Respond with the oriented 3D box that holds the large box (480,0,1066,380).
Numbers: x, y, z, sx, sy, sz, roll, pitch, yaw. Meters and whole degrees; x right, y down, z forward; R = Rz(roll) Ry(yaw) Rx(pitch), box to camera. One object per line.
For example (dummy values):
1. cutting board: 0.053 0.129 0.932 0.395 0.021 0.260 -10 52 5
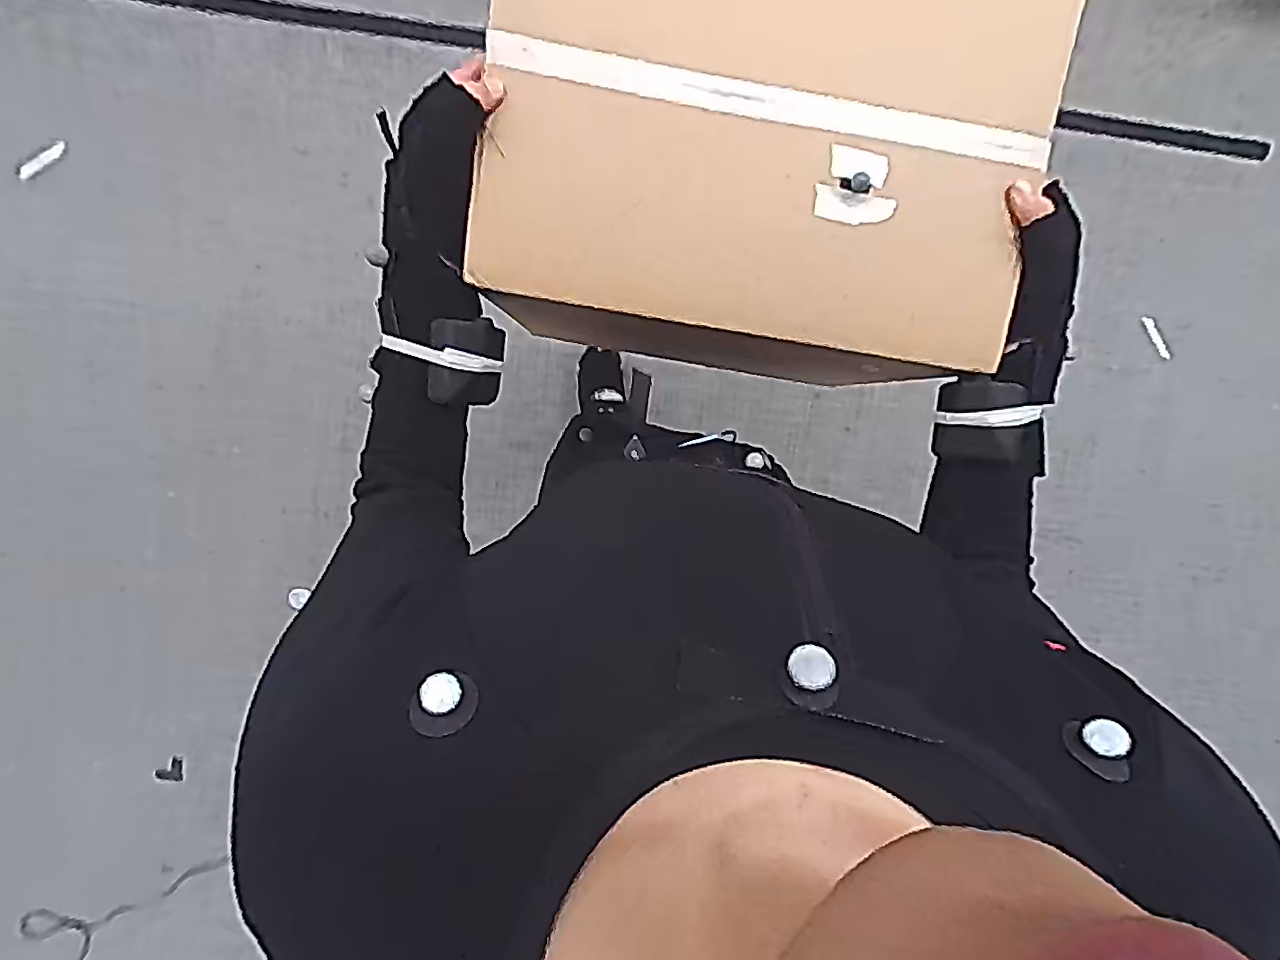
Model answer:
1. large box: 0.087 -0.286 0.540 0.408 0.320 0.320 8 99 -5
